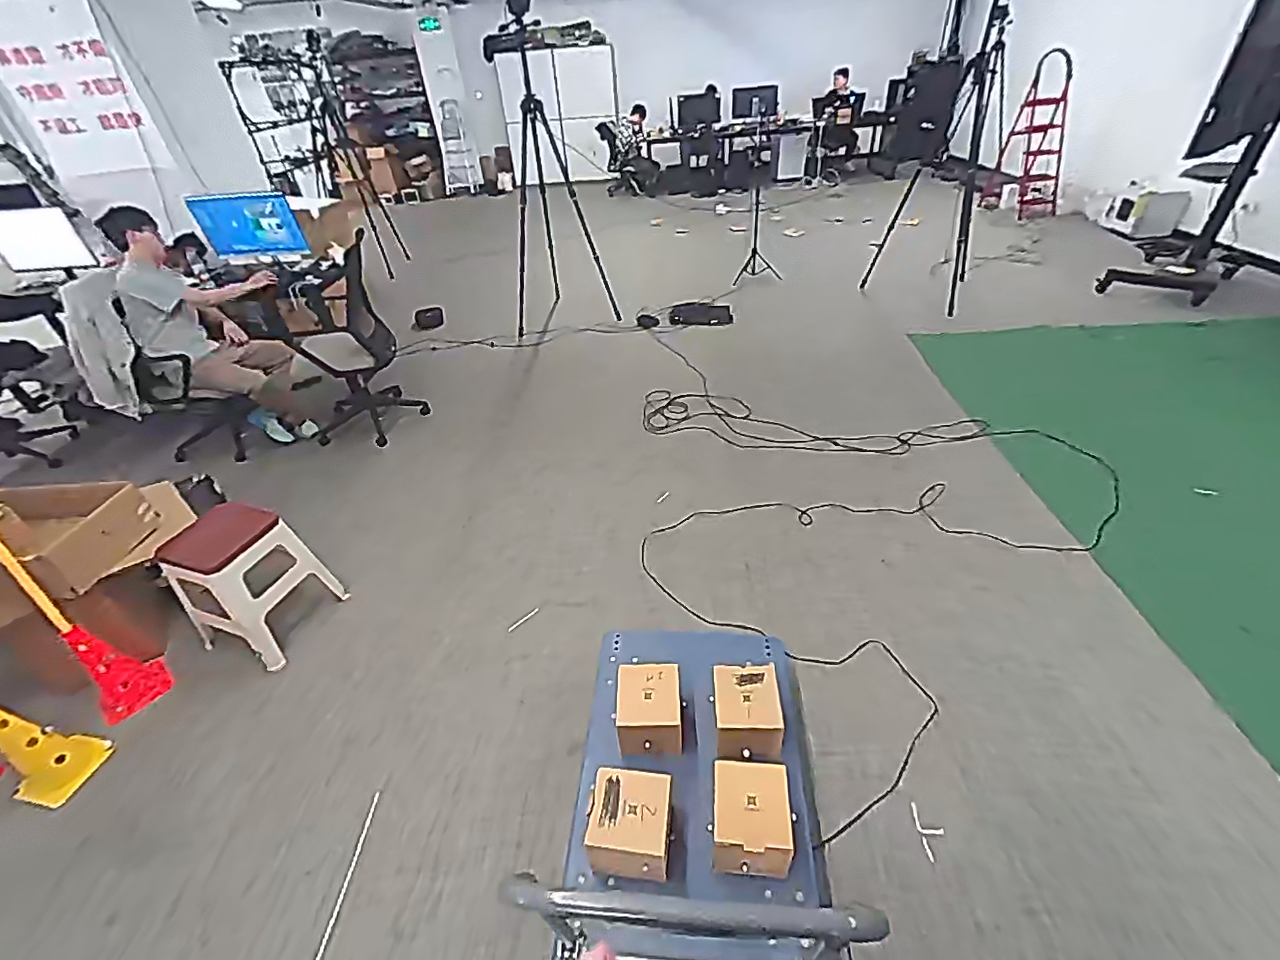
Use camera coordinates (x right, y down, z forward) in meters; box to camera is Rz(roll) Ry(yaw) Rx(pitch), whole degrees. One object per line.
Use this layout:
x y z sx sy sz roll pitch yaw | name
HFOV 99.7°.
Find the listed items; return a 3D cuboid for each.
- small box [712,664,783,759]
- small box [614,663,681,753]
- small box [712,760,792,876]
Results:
0.280 0.616 1.441 0.168 0.176 0.179 -1 40 5 | small box
0.025 0.619 1.464 0.168 0.176 0.179 -2 39 3 | small box
0.251 0.777 1.247 0.168 0.176 0.179 1 40 7 | small box
